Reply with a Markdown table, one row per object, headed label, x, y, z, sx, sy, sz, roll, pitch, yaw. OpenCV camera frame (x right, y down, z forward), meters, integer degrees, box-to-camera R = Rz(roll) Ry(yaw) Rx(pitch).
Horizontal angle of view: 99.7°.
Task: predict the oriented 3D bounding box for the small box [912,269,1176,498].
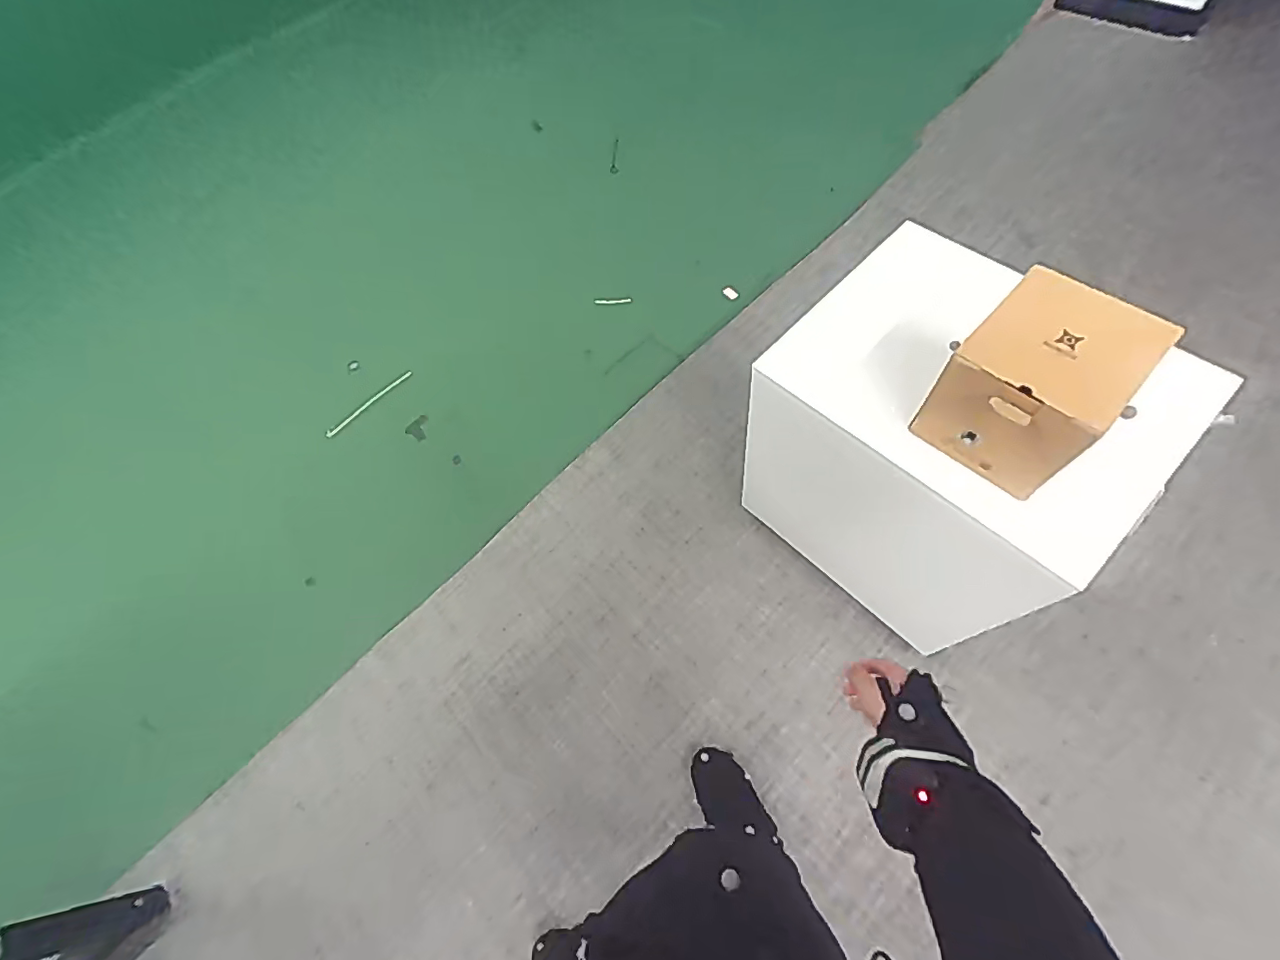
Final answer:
| label | x | y | z | sx | sy | sz | roll | pitch | yaw |
| --- | --- | --- | --- | --- | --- | --- | --- | --- | --- |
| small box | 0.471 | -0.111 | 0.663 | 0.168 | 0.176 | 0.179 | 40 | 76 | 22 |
